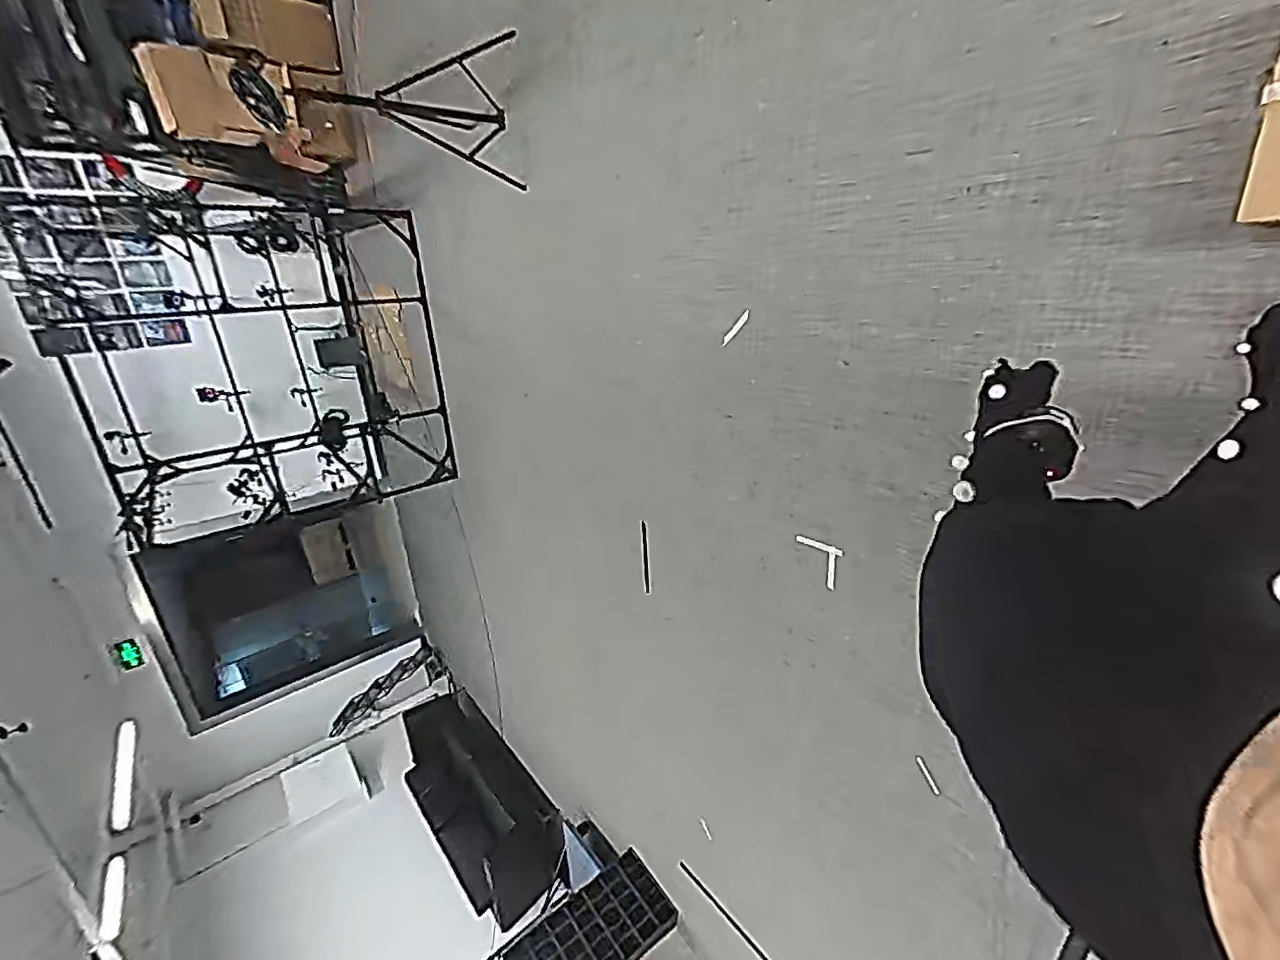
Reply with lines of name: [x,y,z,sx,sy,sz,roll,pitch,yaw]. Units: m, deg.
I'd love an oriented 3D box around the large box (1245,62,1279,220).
large box: [1.064,-0.512,0.645,0.408,0.320,0.320,18,120,47]
